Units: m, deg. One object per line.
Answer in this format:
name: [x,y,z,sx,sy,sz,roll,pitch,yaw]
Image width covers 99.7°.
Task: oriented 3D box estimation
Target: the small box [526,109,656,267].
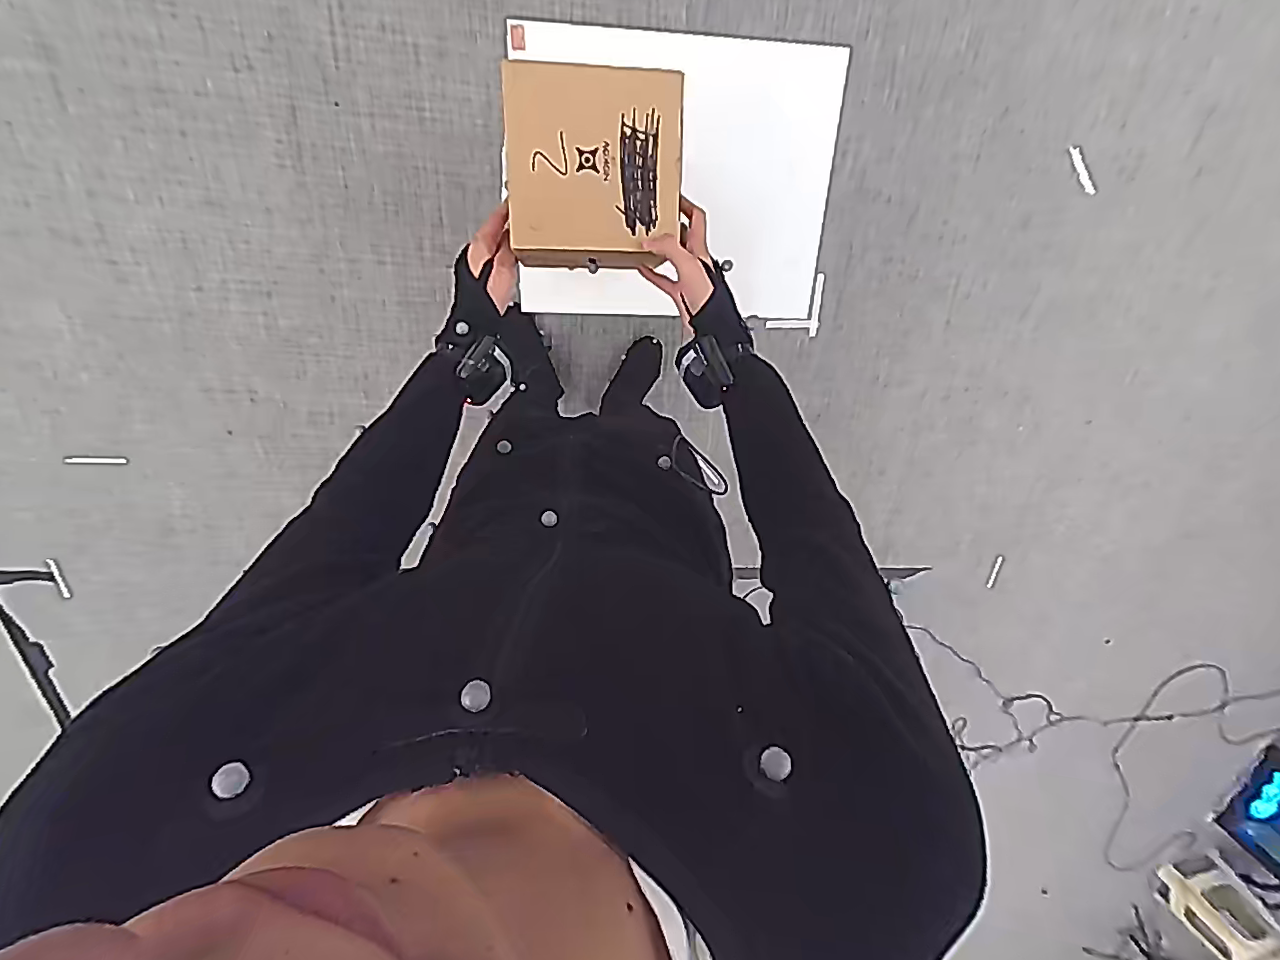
small box: [-0.073,-0.410,0.780,0.168,0.176,0.179,0,114,-7]
